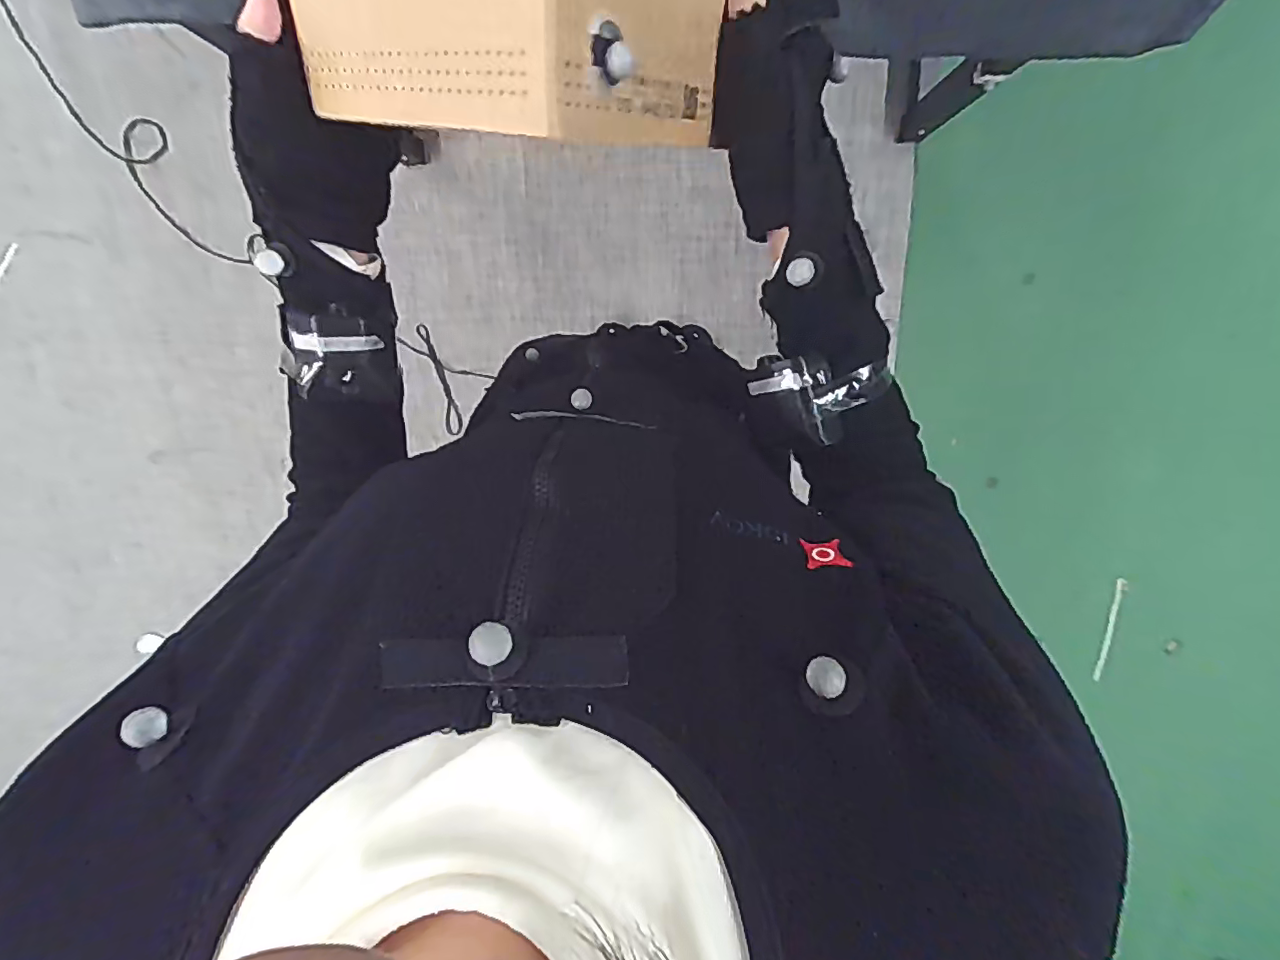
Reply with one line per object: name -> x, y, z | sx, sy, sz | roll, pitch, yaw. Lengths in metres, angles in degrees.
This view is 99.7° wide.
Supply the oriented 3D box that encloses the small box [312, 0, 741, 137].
small box -> -0.052, -0.280, 0.276 | 0.179, 0.168, 0.176 | 22, 126, 27
